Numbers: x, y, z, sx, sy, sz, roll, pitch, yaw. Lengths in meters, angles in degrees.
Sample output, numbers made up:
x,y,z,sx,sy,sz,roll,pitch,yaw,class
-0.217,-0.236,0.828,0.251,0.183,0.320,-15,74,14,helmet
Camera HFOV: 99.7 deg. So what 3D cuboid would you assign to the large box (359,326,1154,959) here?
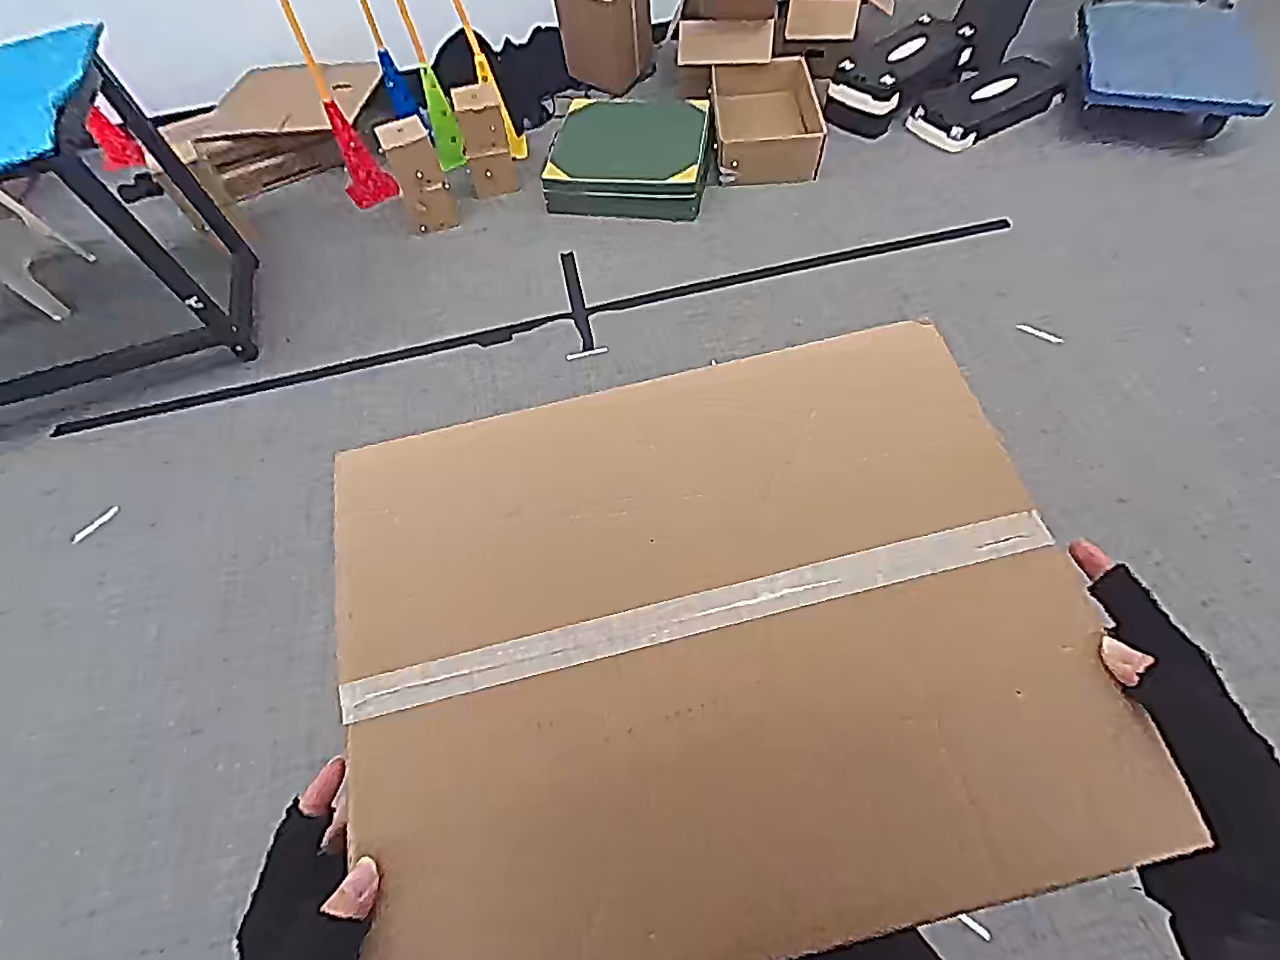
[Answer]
x,y,z,sx,sy,sz,roll,pitch,yaw,class
0.042,0.130,0.457,0.408,0.320,0.320,-14,69,-2,large box
